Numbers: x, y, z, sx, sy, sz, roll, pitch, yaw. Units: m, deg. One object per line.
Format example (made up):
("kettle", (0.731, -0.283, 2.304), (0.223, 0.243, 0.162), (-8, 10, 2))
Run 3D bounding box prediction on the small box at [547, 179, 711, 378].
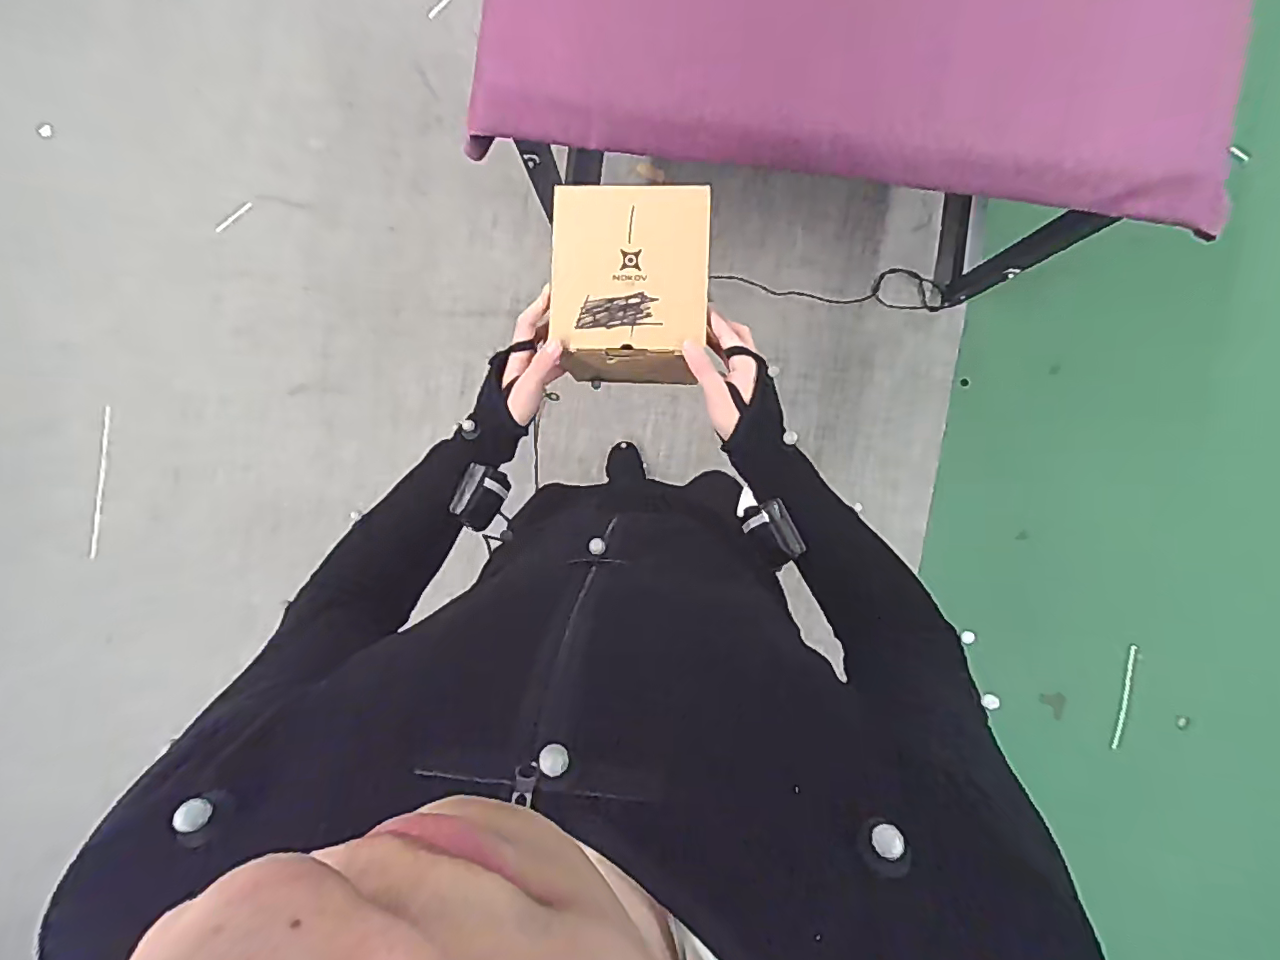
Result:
("small box", (-0.006, -0.221, 0.635), (0.168, 0.176, 0.179), (2, 88, 3))
